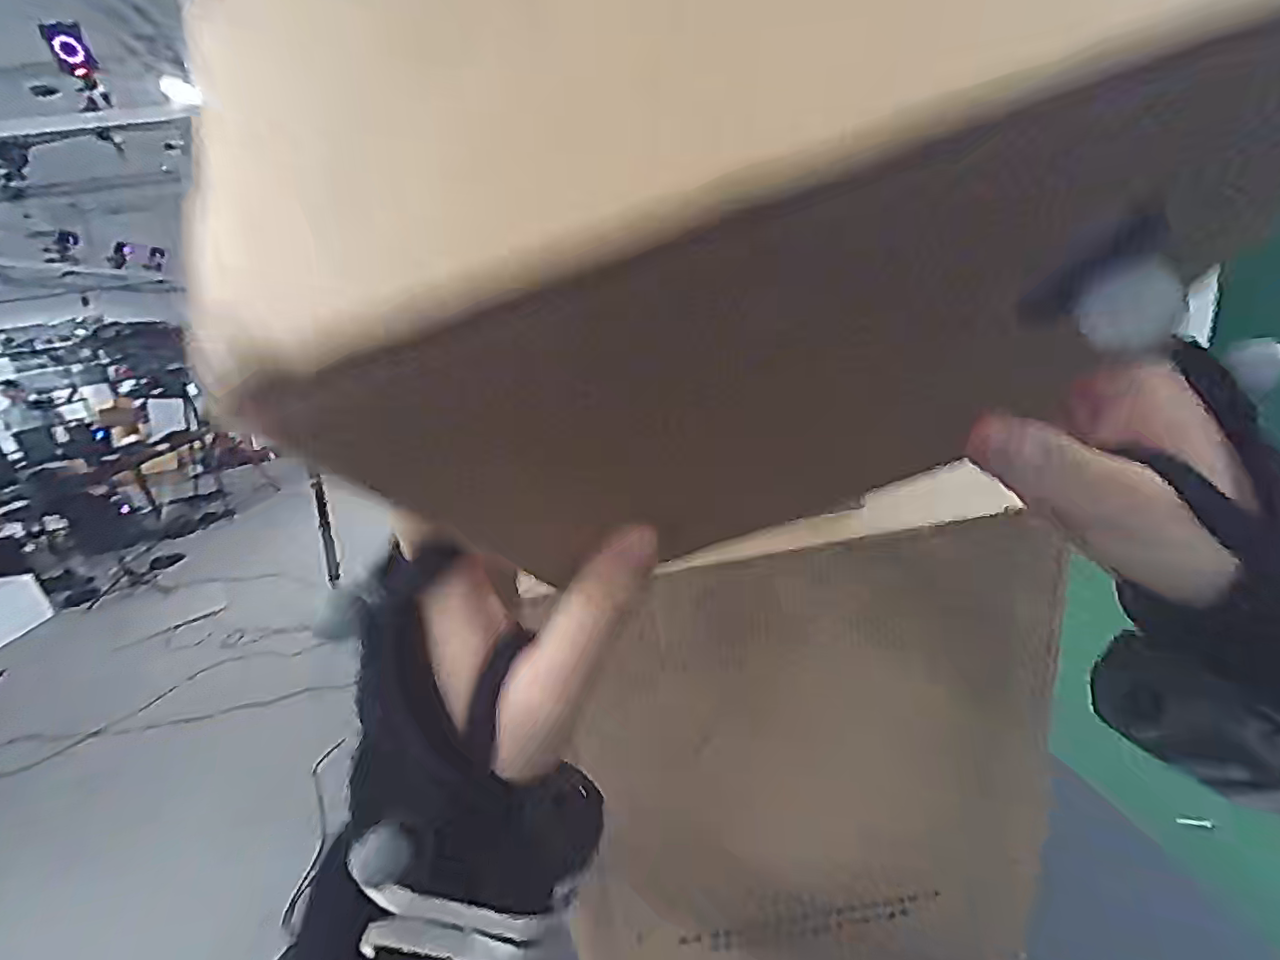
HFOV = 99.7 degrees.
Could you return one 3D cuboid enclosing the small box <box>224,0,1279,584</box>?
[{"bbox_3d":[0.022,-0.080,0.166,0.179,0.168,0.176,-19,-21,1],"label":"small box"}]
